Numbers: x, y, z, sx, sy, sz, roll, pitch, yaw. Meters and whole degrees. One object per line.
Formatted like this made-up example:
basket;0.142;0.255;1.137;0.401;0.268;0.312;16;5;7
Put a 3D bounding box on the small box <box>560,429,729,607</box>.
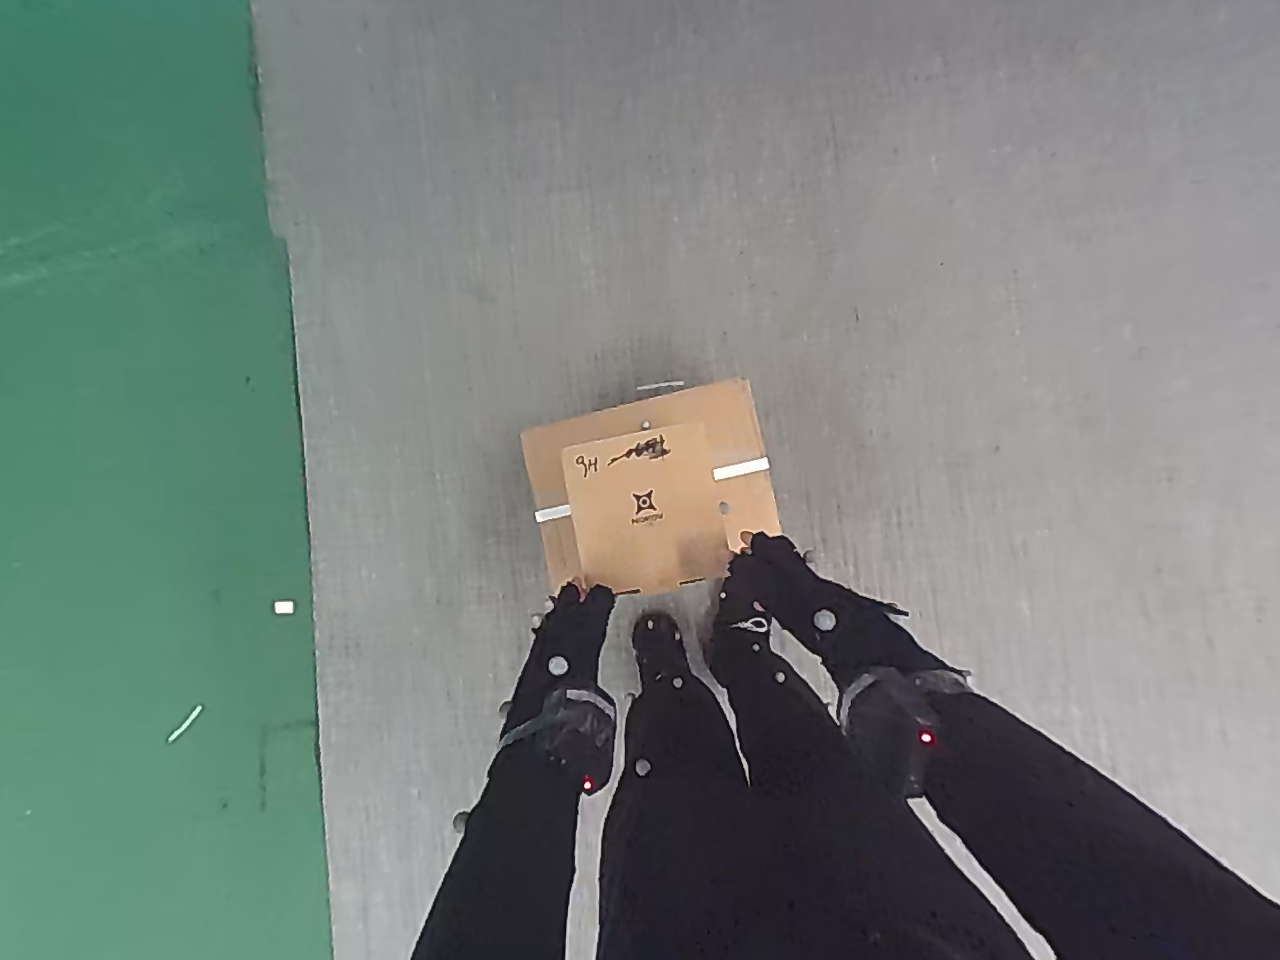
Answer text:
small box;0.013;0.043;0.669;0.168;0.176;0.179;-11;88;6
